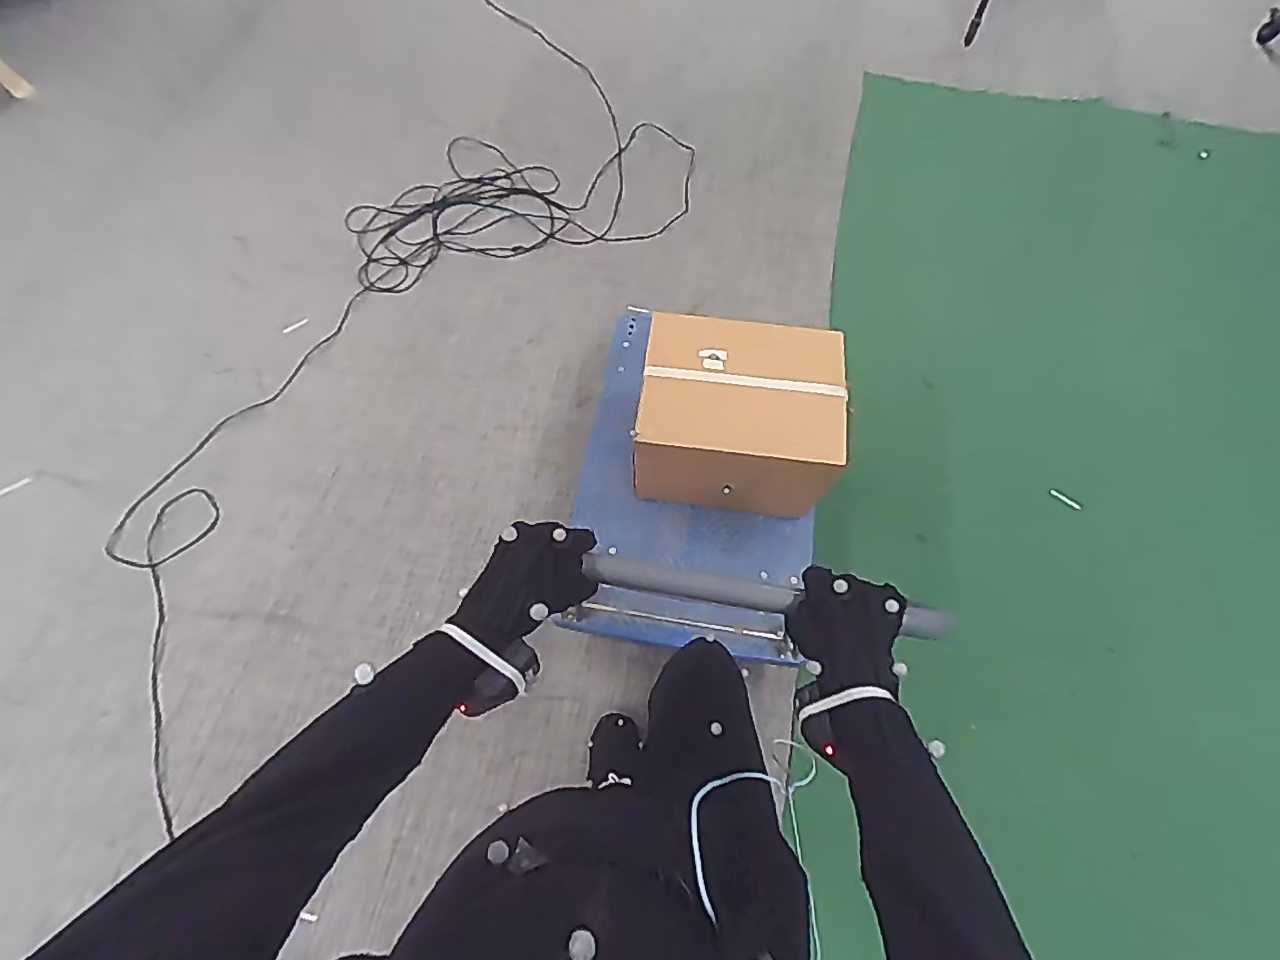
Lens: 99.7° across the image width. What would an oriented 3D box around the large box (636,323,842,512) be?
[{"bbox_3d":[0.208,-0.128,1.235,0.408,0.320,0.320,5,67,4],"label":"large box"}]
